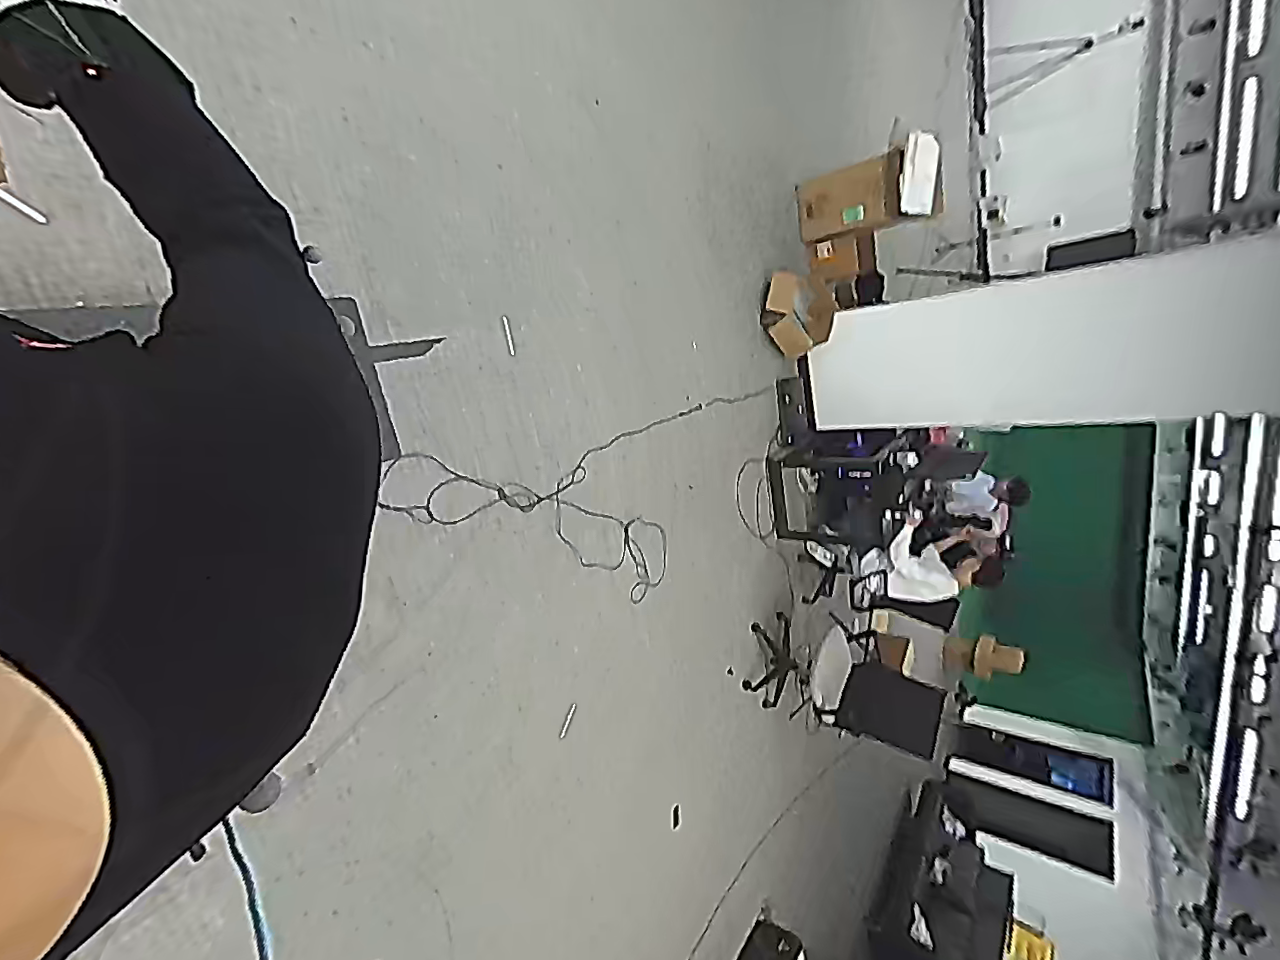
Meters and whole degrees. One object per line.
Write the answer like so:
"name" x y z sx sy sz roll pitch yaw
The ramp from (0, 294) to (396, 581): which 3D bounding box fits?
"ramp" -1.055 -0.164 1.244 0.991 0.206 0.509 -30 113 -46
